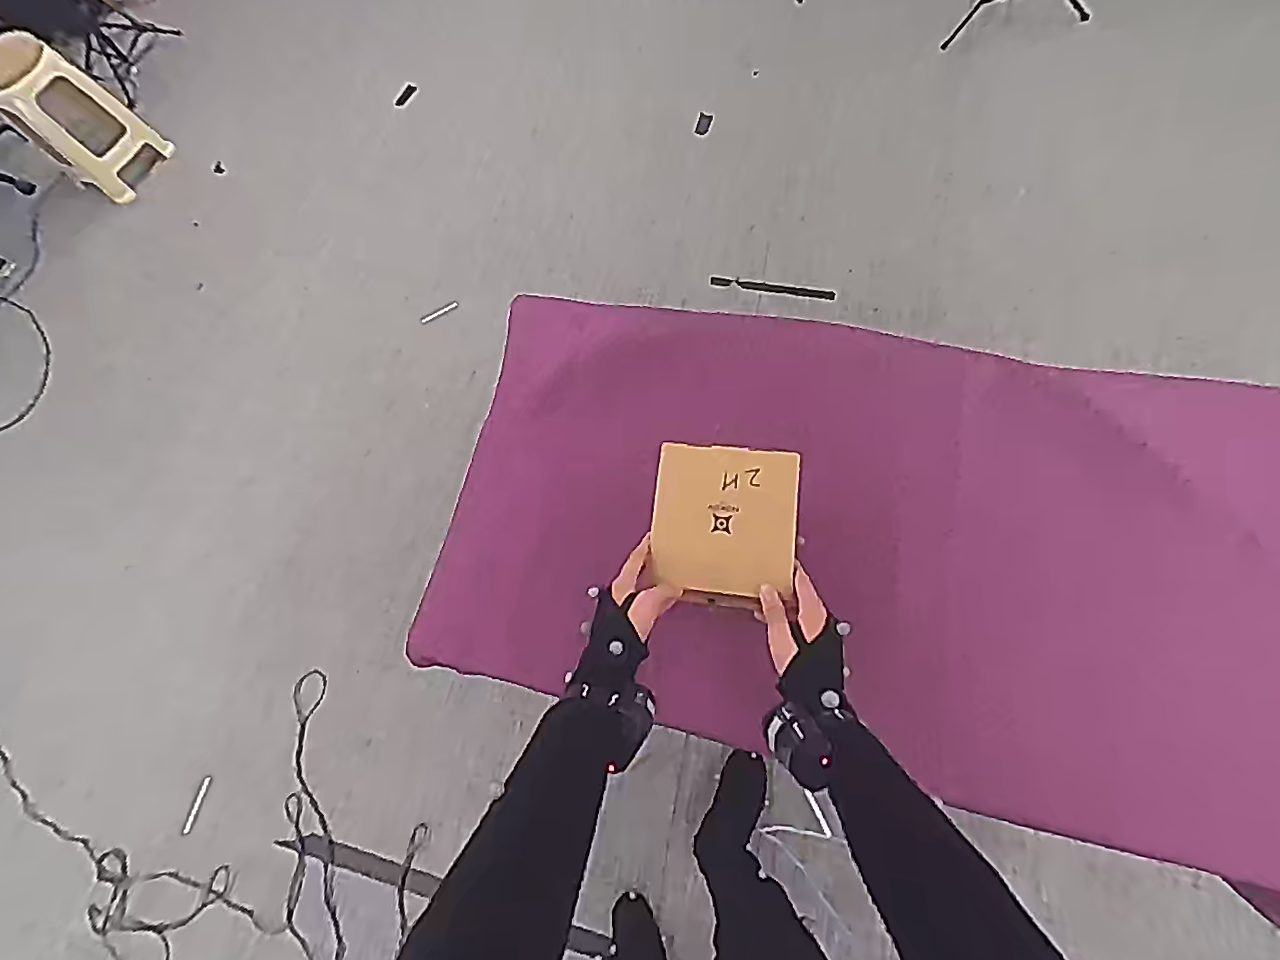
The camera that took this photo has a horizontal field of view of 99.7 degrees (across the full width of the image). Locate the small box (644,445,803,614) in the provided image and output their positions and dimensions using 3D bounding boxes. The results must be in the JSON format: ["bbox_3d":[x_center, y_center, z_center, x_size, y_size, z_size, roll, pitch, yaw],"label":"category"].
[{"bbox_3d":[0.108,0.071,0.692,0.168,0.176,0.179,6,73,10],"label":"small box"}]
